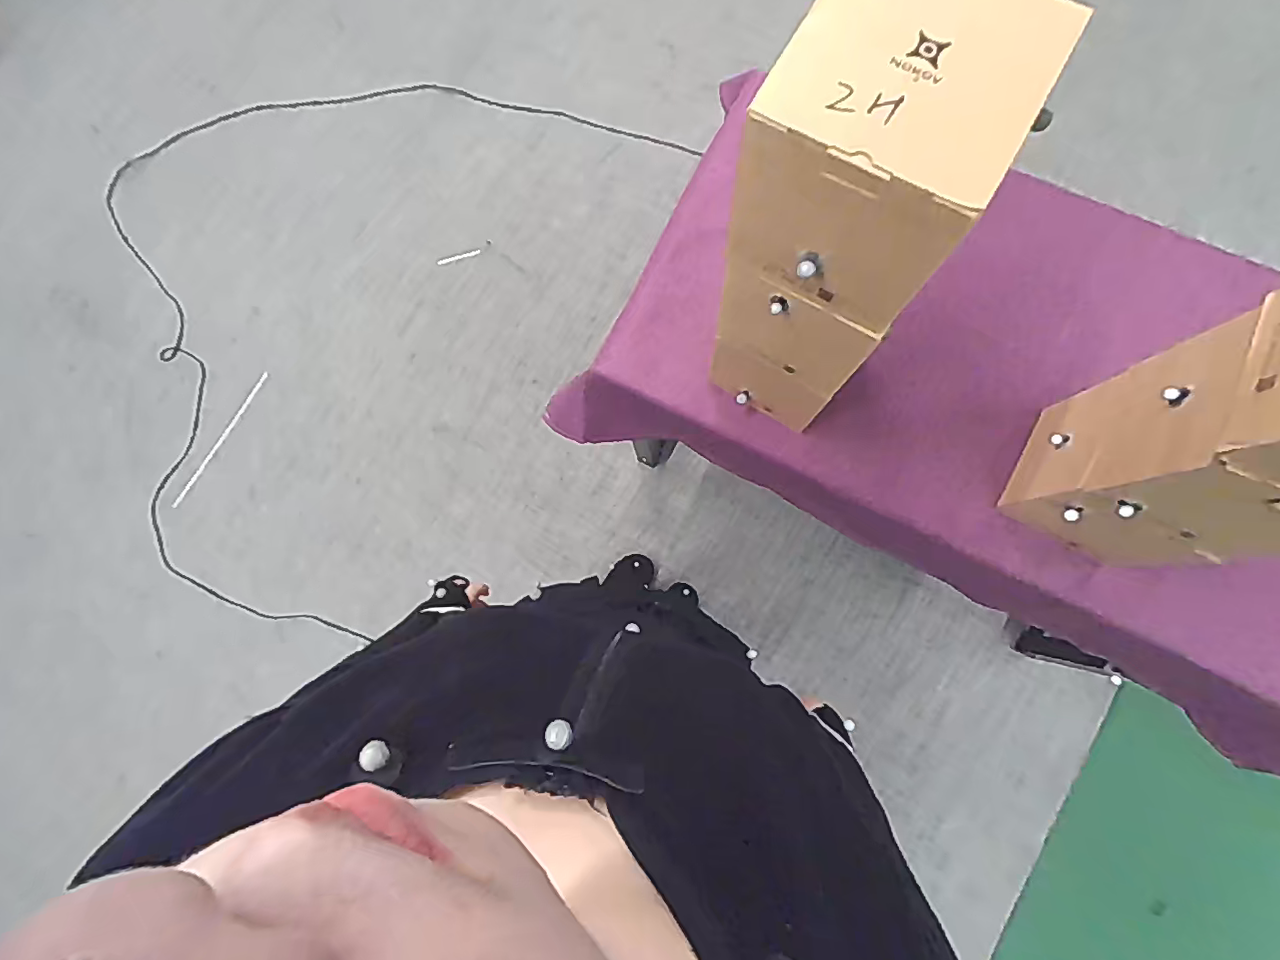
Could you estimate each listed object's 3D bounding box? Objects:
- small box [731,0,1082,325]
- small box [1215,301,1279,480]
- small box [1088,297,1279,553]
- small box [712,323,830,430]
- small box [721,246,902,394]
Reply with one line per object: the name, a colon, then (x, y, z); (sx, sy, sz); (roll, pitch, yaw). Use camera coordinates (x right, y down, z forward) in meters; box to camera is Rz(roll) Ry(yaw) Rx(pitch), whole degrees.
small box: (0.186, -0.263, 0.437); (0.168, 0.176, 0.179); (30, 83, 9)
small box: (0.593, -0.071, 0.380); (0.179, 0.176, 0.168); (25, 82, 8)
small box: (0.605, -0.039, 0.539); (0.168, 0.176, 0.179); (27, 81, 8)
small box: (0.212, -0.198, 0.760); (0.168, 0.176, 0.179); (32, 84, 9)
small box: (0.201, -0.227, 0.598); (0.168, 0.176, 0.179); (32, 82, 10)
